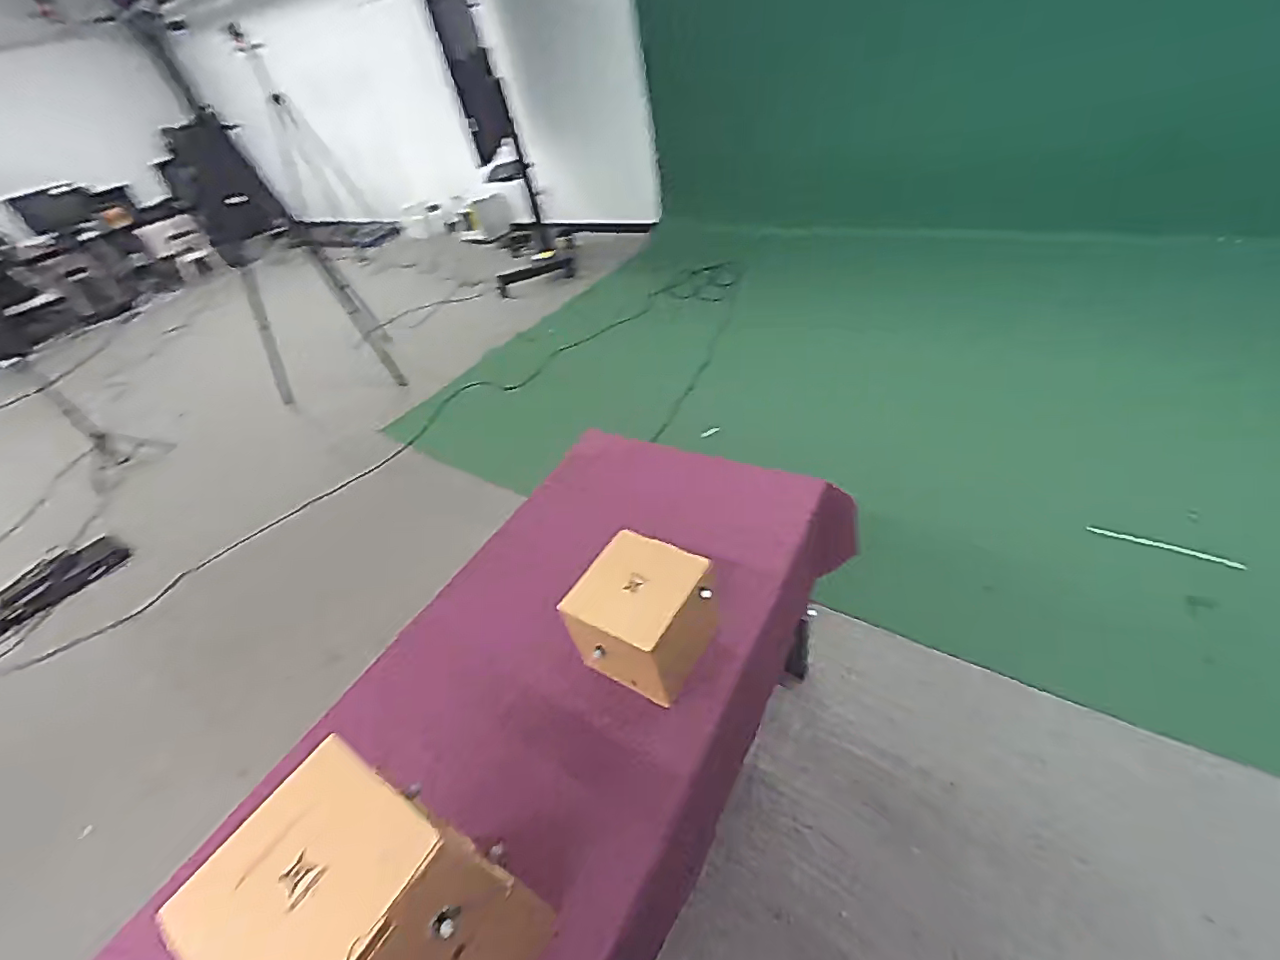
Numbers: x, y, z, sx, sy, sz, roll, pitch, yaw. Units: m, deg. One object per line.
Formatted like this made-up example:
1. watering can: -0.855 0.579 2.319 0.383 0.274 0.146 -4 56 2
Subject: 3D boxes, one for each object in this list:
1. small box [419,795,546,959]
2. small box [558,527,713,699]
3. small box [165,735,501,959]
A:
1. small box: -0.224 0.500 0.594 0.168 0.176 0.179 15 48 31
2. small box: 0.005 0.209 0.856 0.168 0.176 0.179 16 49 31
3. small box: -0.259 0.377 0.491 0.179 0.176 0.168 17 49 32
